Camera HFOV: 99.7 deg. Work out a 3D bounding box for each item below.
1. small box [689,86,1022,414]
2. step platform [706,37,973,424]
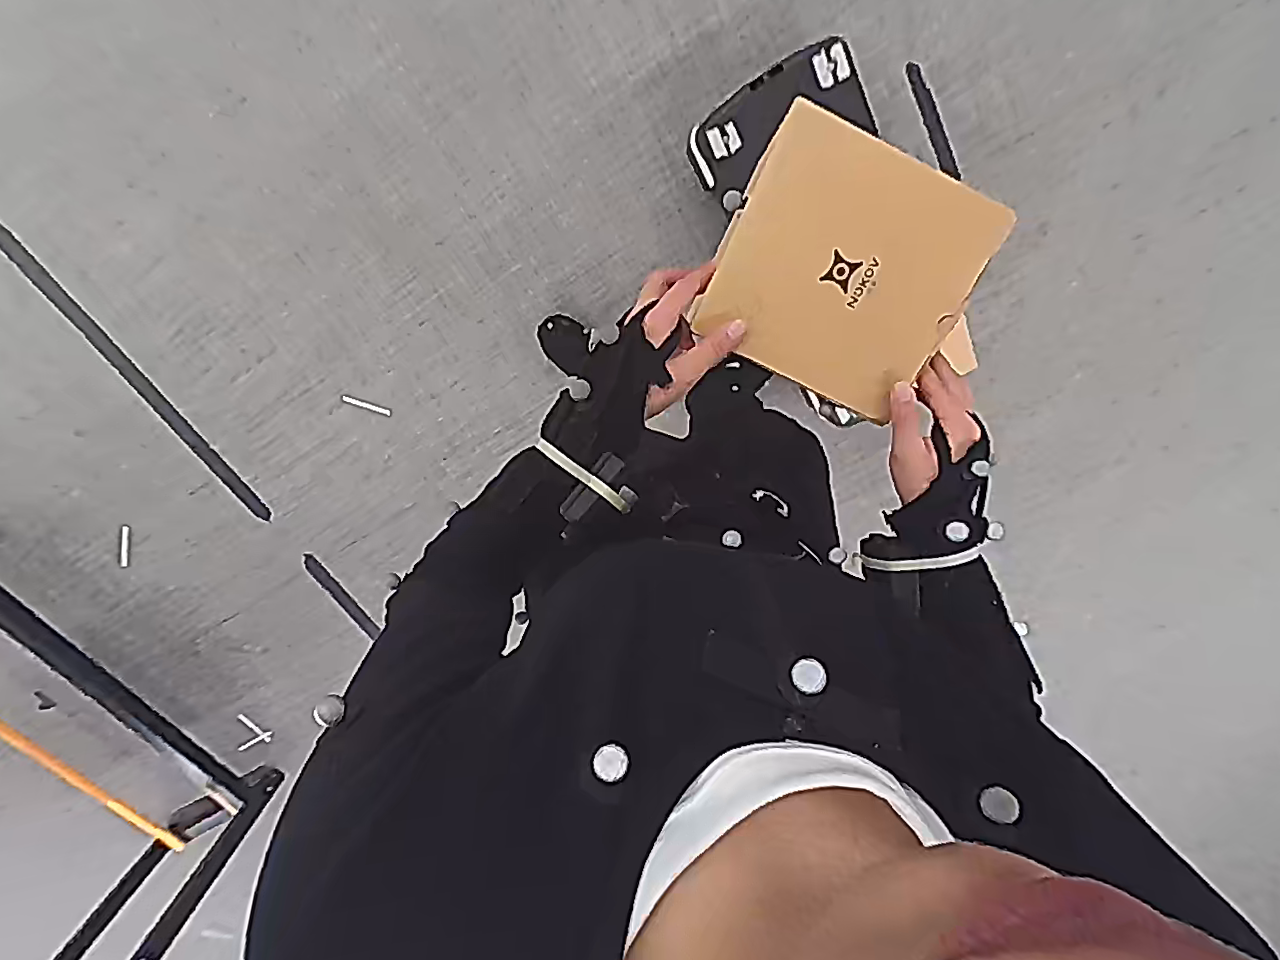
[{"bbox_3d":[0.150,-0.176,0.456,0.179,0.176,0.168,24,108,-5],"label":"small box"},{"bbox_3d":[0.404,-0.454,1.089,0.286,0.204,0.684,-29,109,12],"label":"step platform"}]
